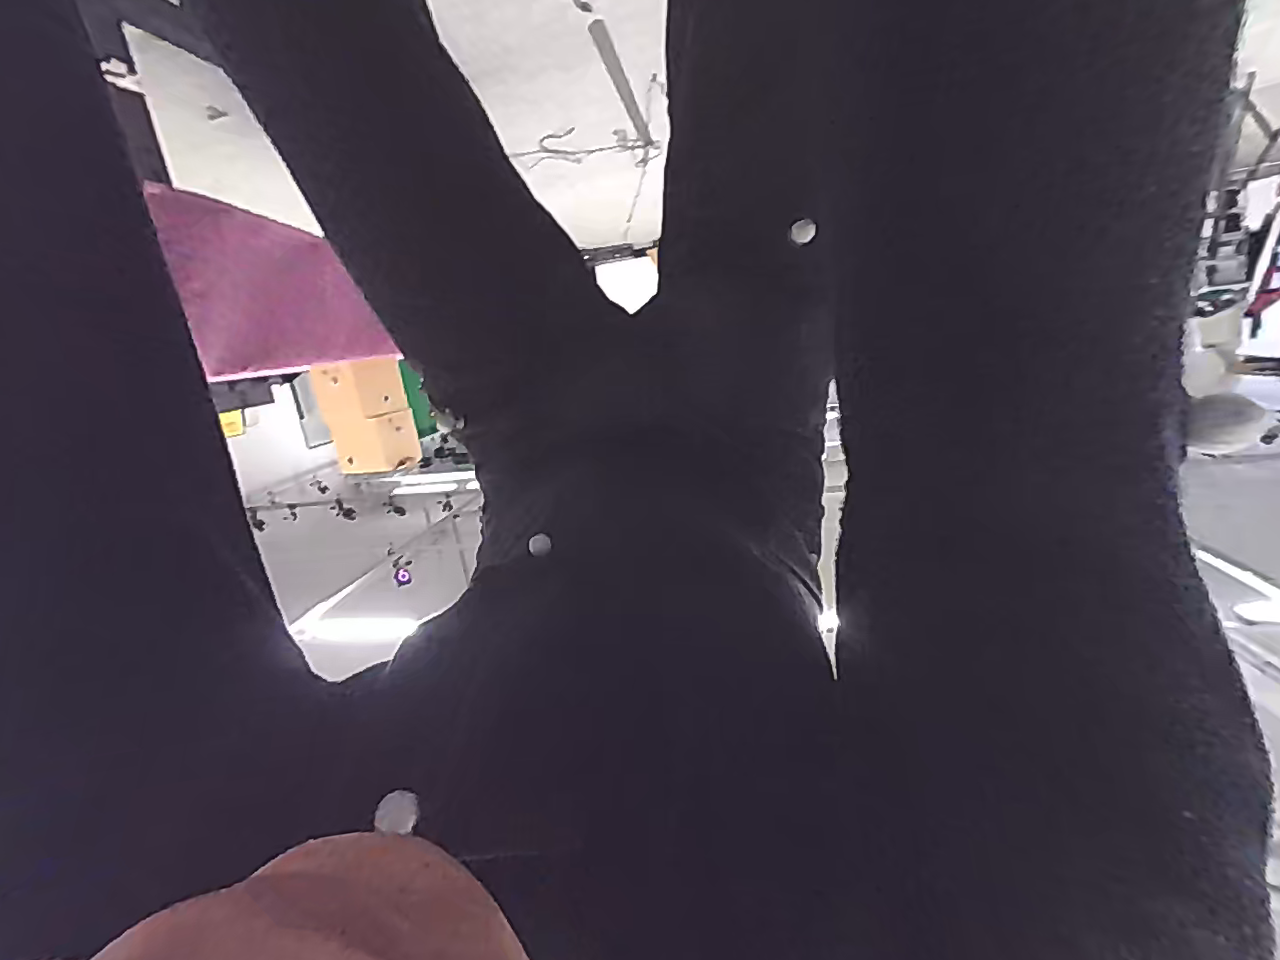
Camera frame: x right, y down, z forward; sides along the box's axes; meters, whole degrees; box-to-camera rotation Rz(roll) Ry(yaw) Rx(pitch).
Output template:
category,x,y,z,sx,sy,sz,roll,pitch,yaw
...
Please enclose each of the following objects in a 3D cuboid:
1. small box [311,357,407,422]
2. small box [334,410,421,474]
category,x,y,z,sx,sy,sz,roll,pitch,yaw
small box,-0.839,-0.275,1.621,0.168,0.176,0.179,-1,-165,22
small box,-0.821,-0.123,1.686,0.179,0.176,0.168,-3,-164,17
